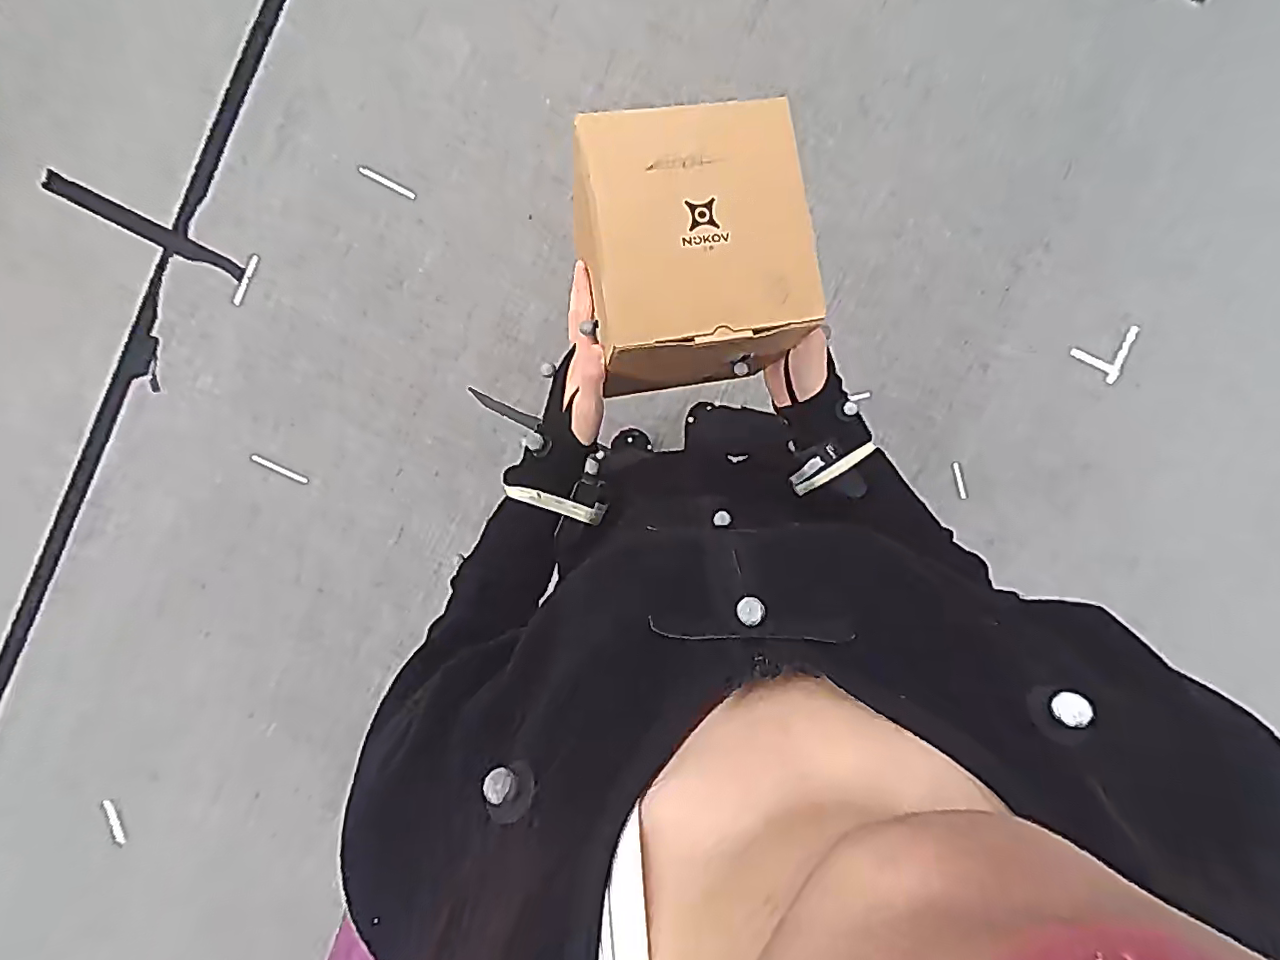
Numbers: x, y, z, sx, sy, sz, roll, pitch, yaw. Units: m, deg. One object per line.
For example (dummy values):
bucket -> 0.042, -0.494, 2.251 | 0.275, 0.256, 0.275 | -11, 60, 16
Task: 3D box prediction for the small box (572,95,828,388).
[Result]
small box -> 0.037, -0.186, 0.472 | 0.168, 0.176, 0.179 | -10, 88, -8
